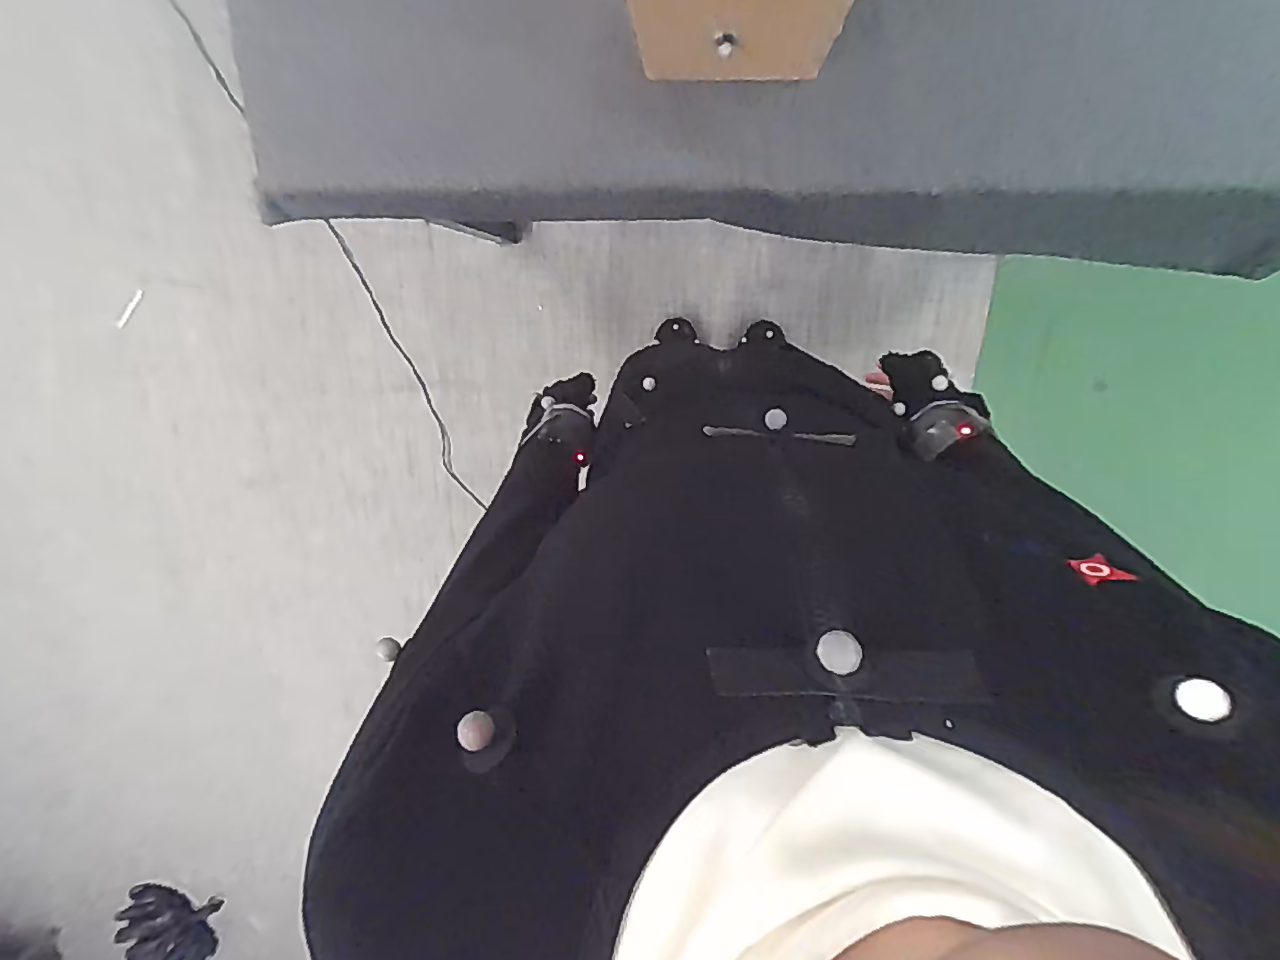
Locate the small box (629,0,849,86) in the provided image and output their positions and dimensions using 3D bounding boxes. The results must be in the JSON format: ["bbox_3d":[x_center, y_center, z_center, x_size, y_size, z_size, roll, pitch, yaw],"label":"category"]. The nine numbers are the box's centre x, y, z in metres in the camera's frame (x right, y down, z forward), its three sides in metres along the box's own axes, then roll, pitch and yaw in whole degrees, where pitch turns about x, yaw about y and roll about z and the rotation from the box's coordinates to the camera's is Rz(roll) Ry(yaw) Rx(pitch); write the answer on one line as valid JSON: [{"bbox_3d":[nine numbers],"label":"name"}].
[{"bbox_3d":[0.089,-0.474,0.475,0.179,0.176,0.168,4,107,6],"label":"small box"}]
